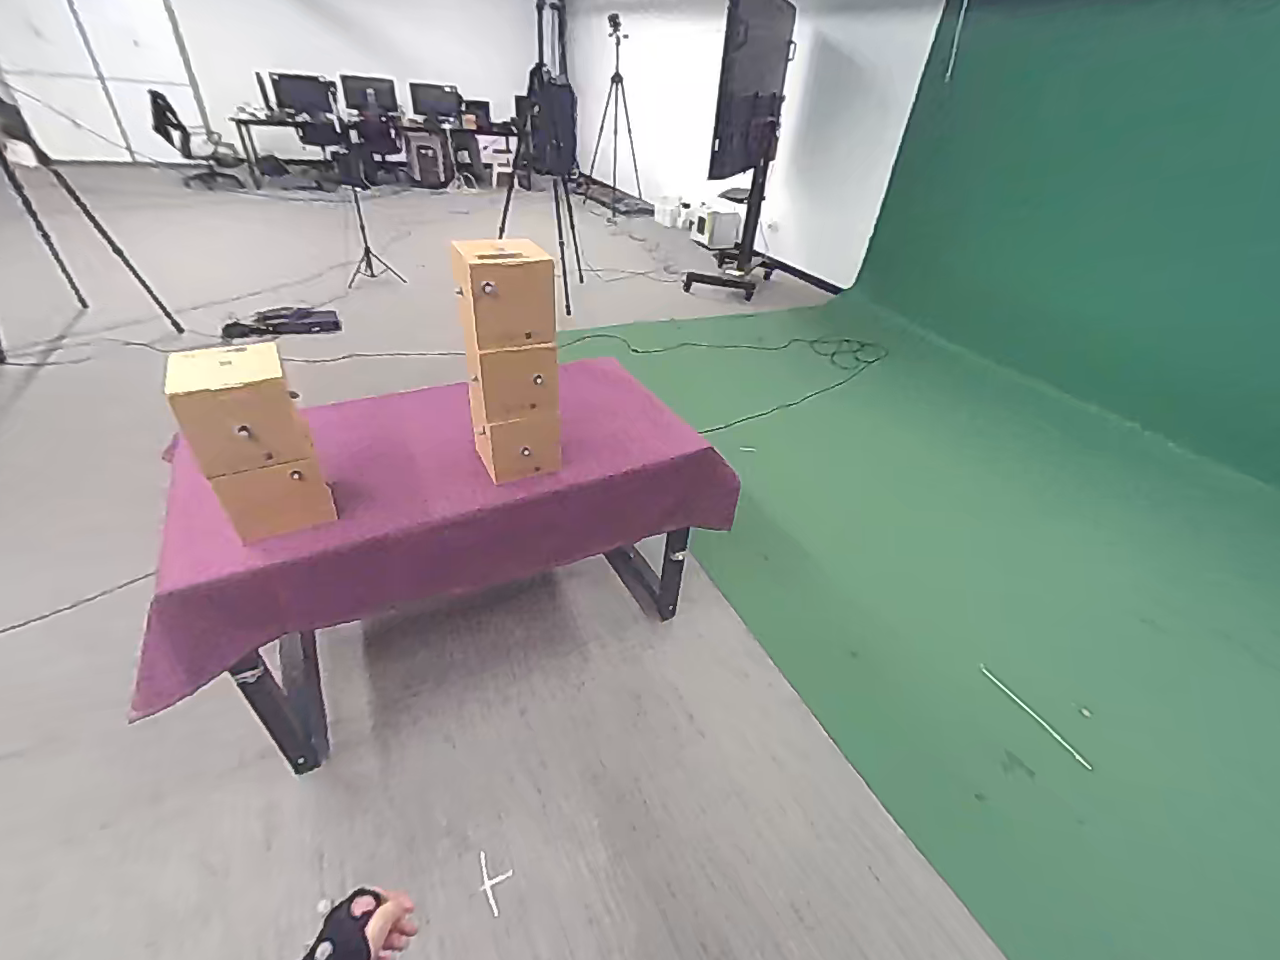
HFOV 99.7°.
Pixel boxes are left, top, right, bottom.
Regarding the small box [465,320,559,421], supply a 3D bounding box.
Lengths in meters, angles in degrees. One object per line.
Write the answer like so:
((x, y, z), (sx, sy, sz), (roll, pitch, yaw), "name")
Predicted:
((-0.285, -0.243, 1.218), (0.168, 0.176, 0.179), (-13, 39, -23), "small box")

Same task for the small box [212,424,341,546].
((-0.736, 0.009, 1.106), (0.179, 0.176, 0.168), (-16, 41, -27), "small box")

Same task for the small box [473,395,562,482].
((-0.293, -0.110, 1.312), (0.168, 0.176, 0.179), (-14, 40, -24), "small box")

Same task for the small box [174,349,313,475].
((-0.731, -0.124, 1.009), (0.168, 0.176, 0.179), (-16, 41, -28), "small box")
